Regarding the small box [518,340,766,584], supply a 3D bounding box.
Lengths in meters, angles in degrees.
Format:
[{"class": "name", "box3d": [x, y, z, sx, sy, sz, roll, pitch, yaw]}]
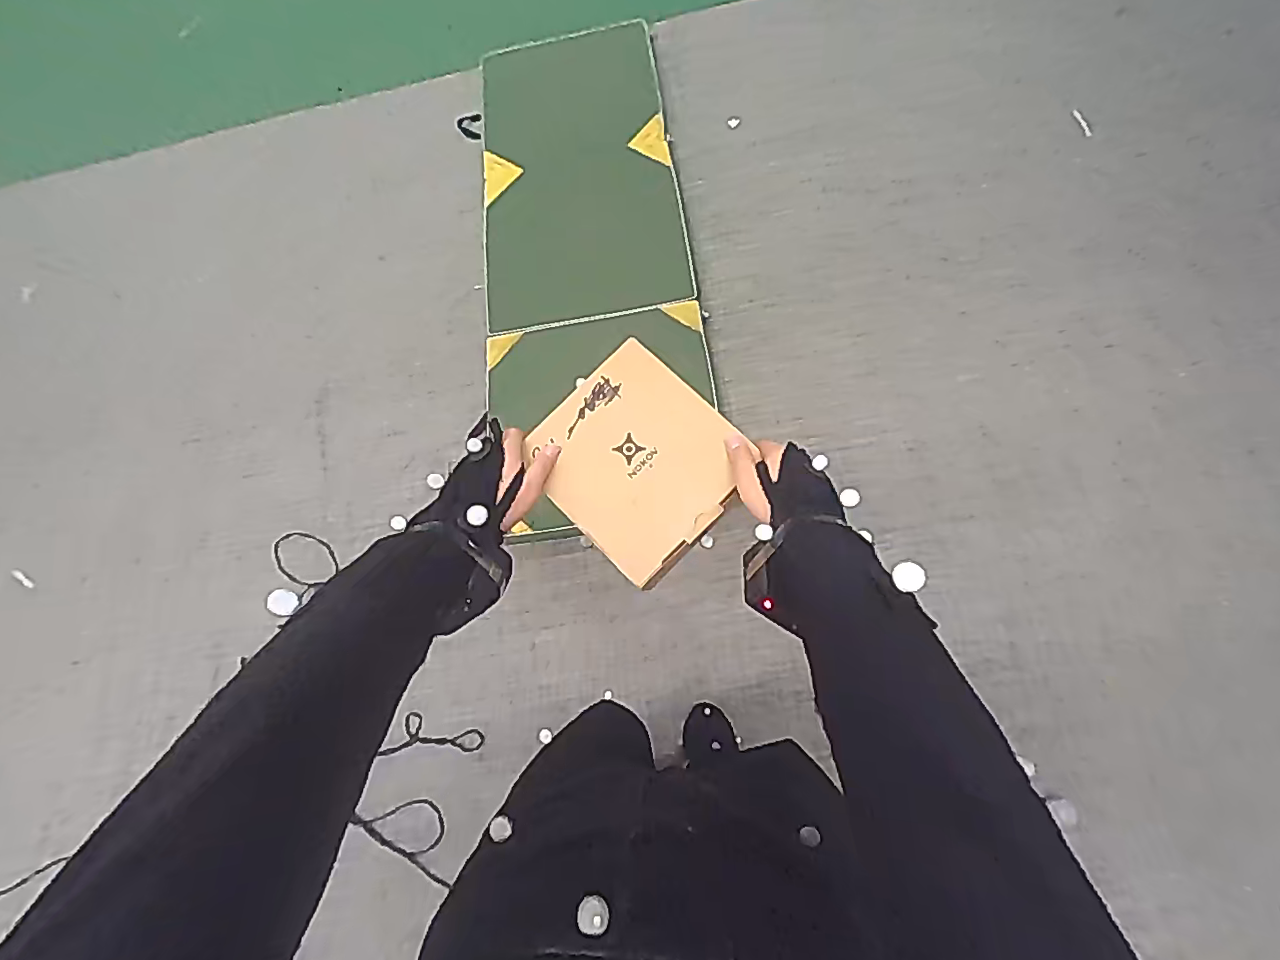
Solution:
[{"class": "small box", "box3d": [0.006, -0.008, 0.580, 0.168, 0.176, 0.179, -45, 79, -6]}]
